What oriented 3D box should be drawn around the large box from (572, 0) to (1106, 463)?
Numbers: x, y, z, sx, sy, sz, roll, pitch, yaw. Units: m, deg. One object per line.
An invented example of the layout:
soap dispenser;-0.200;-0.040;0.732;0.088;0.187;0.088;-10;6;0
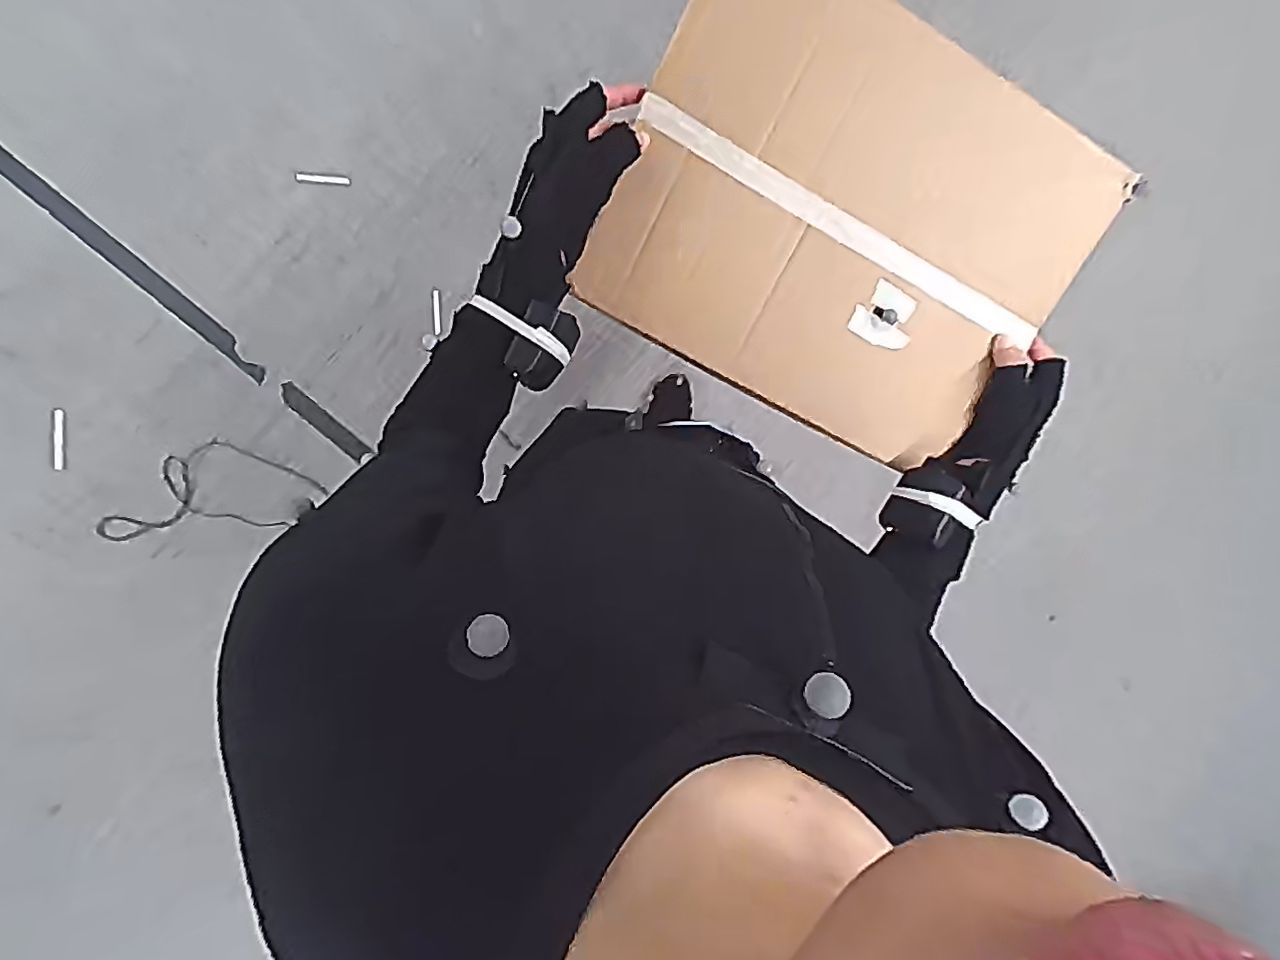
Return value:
large box;0.169;-0.269;0.628;0.408;0.320;0.320;26;104;-11
